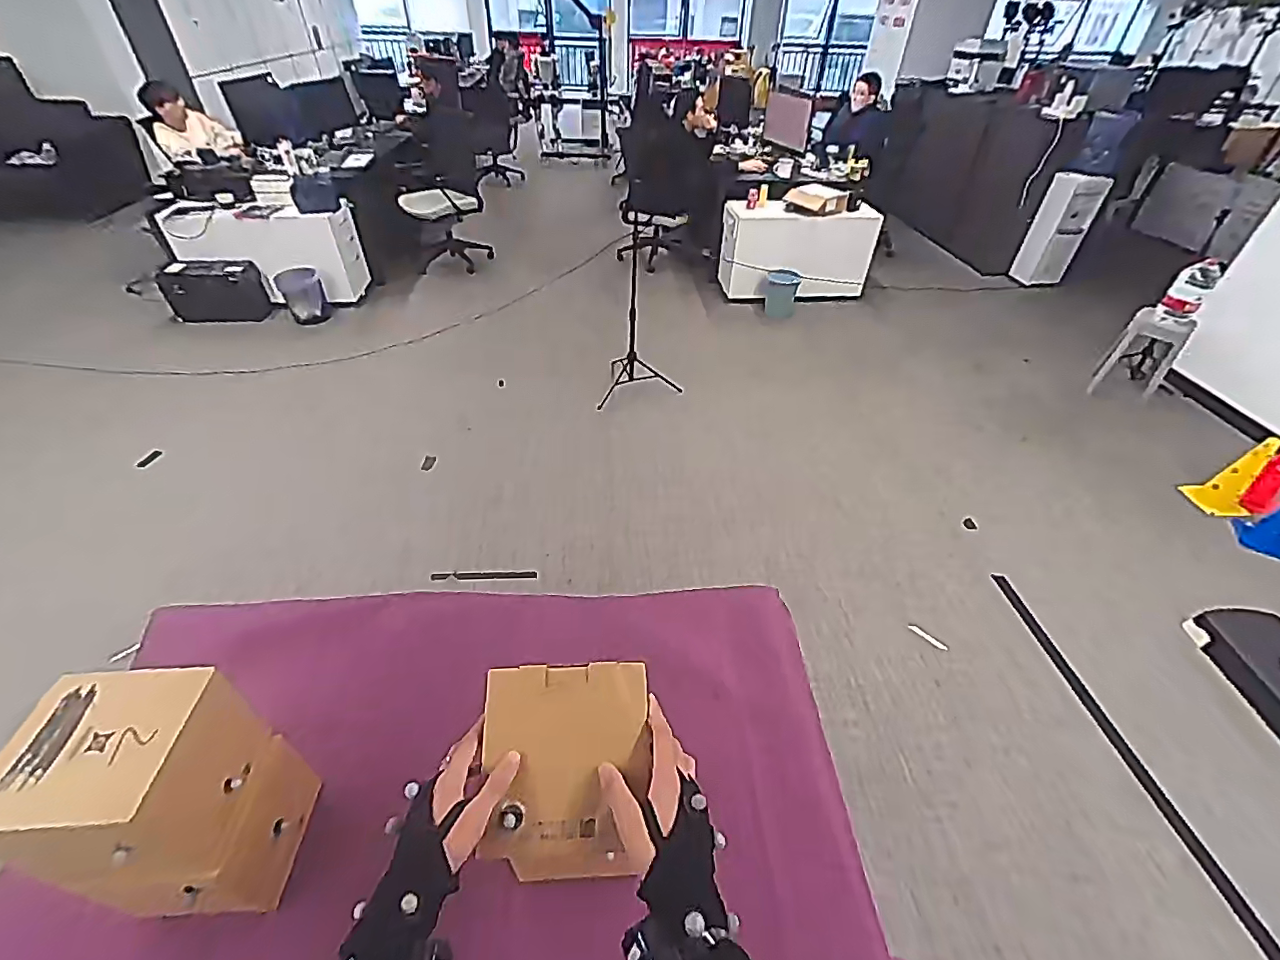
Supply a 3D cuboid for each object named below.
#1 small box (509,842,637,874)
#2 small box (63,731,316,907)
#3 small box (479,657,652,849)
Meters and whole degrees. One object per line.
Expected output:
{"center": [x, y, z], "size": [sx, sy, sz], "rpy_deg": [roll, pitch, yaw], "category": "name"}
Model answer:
{"center": [-0.093, 0.444, 0.773], "size": [0.179, 0.176, 0.168], "rpy_deg": [0, 41, -3], "category": "small box"}
{"center": [-0.579, 0.458, 0.733], "size": [0.179, 0.176, 0.168], "rpy_deg": [0, 41, -3], "category": "small box"}
{"center": [-0.074, 0.300, 0.600], "size": [0.168, 0.179, 0.176], "rpy_deg": [-1, 63, -2], "category": "small box"}
